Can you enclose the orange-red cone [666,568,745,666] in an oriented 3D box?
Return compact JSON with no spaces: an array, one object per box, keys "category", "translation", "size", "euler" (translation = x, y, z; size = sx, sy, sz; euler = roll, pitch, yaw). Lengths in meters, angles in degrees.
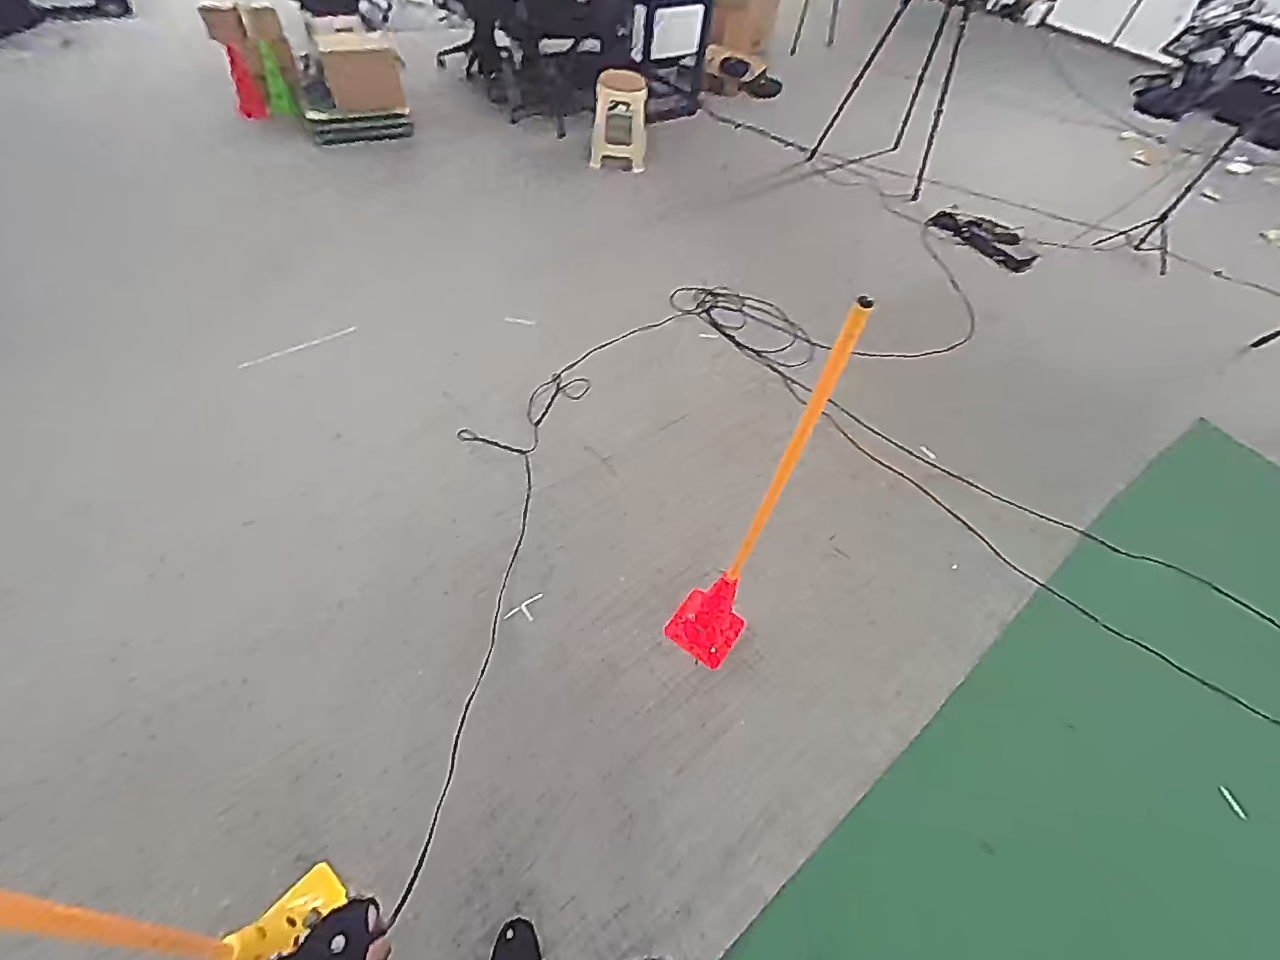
[{"category":"orange-red cone","translation":[0.226,0.350,1.544],"size":[0.198,0.360,0.199],"euler":[34,55,17]}]
